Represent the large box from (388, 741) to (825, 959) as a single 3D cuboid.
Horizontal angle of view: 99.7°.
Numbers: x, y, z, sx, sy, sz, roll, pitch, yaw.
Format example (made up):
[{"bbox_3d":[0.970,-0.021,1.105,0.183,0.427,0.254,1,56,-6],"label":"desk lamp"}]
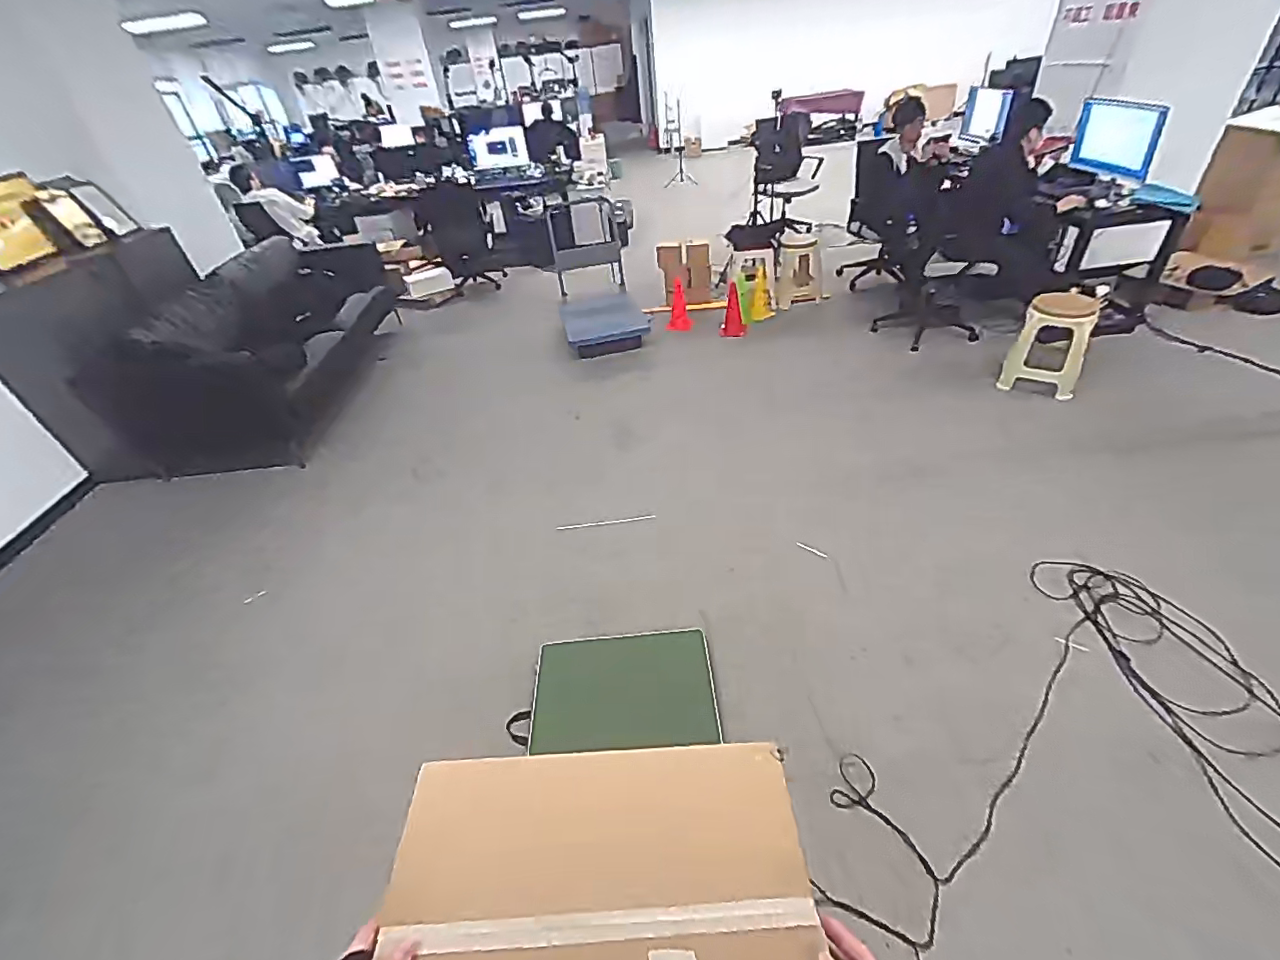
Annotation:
[{"bbox_3d":[-0.032,0.529,0.607,0.408,0.320,0.320,-3,41,-2],"label":"large box"}]
